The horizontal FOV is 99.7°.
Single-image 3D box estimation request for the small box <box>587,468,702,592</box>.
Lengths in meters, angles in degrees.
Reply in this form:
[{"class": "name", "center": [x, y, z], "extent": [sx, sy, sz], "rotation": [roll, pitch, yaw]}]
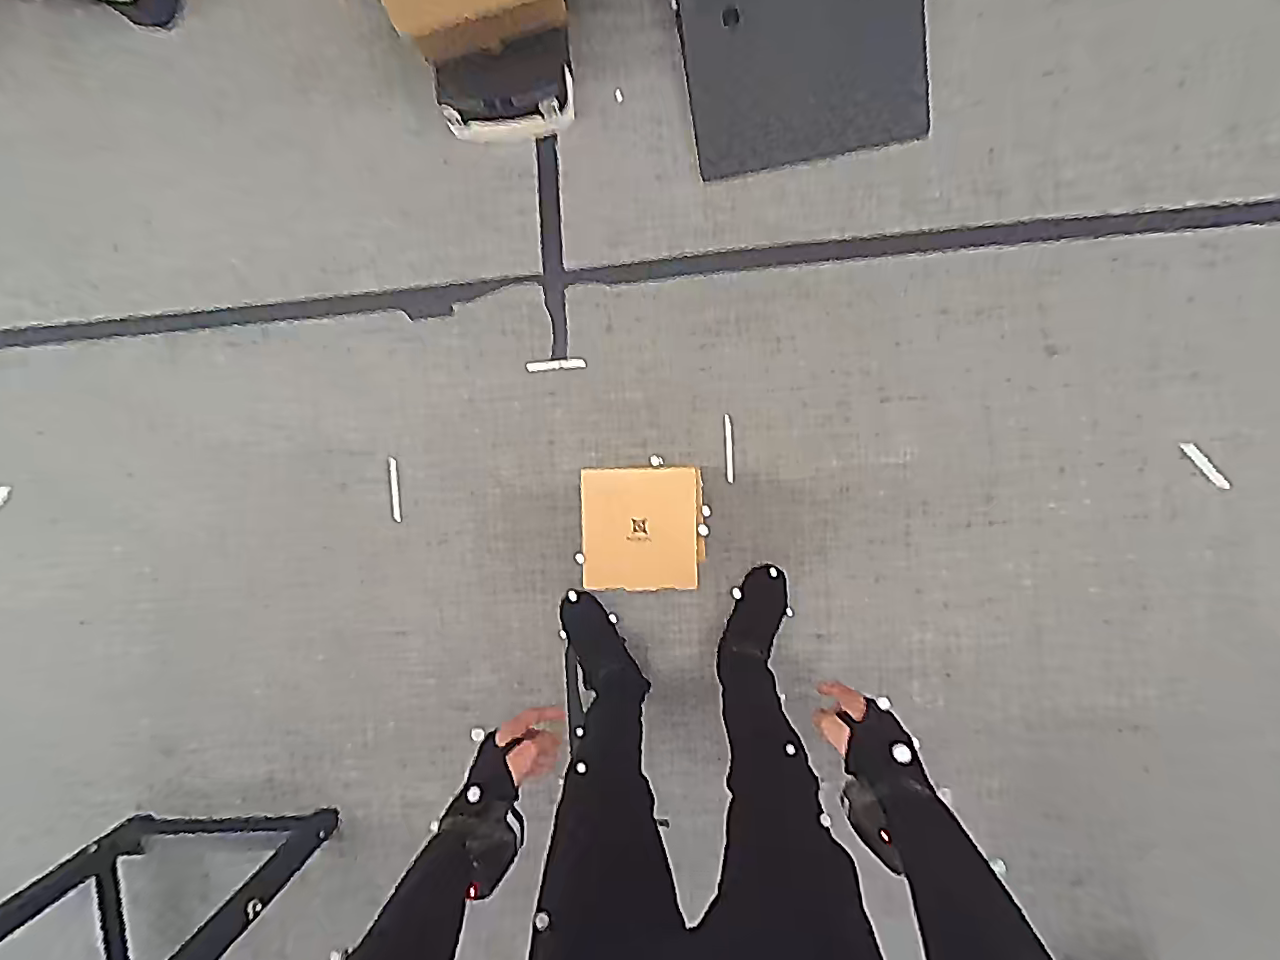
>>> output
[{"class": "small box", "center": [0.010, 0.069, 0.843], "extent": [0.168, 0.176, 0.179], "rotation": [-1, 93, 4]}]
